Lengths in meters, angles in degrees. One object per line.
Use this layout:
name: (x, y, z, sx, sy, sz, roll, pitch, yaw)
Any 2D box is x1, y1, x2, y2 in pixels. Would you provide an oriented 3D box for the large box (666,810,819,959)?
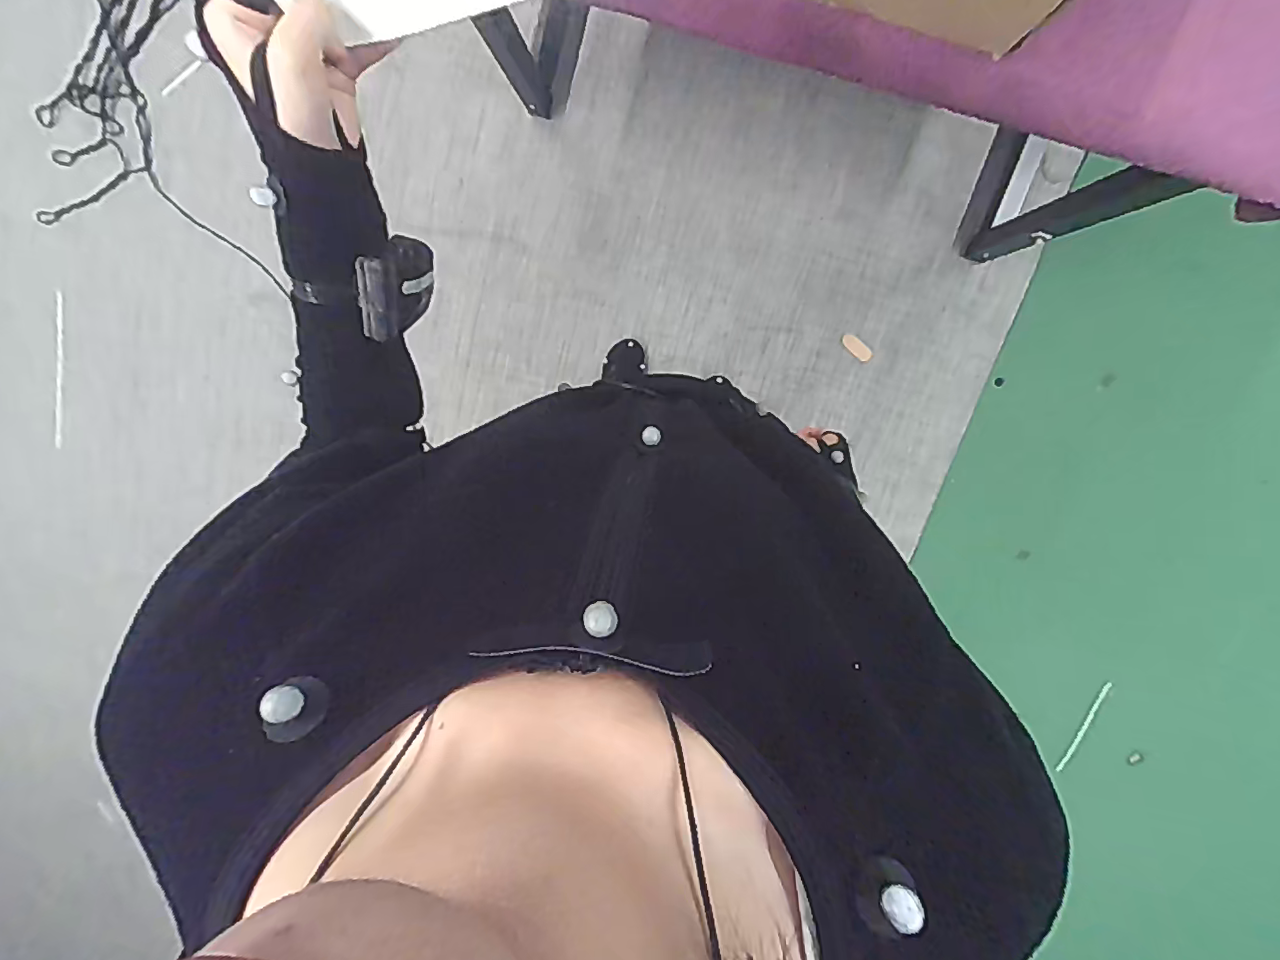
large box: (0.280, 1.242, 1.612, 0.408, 0.320, 0.320, 3, 103, 3)

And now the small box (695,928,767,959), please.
small box: (0.233, 1.292, 1.375, 0.179, 0.176, 0.168, 6, 101, 4)
